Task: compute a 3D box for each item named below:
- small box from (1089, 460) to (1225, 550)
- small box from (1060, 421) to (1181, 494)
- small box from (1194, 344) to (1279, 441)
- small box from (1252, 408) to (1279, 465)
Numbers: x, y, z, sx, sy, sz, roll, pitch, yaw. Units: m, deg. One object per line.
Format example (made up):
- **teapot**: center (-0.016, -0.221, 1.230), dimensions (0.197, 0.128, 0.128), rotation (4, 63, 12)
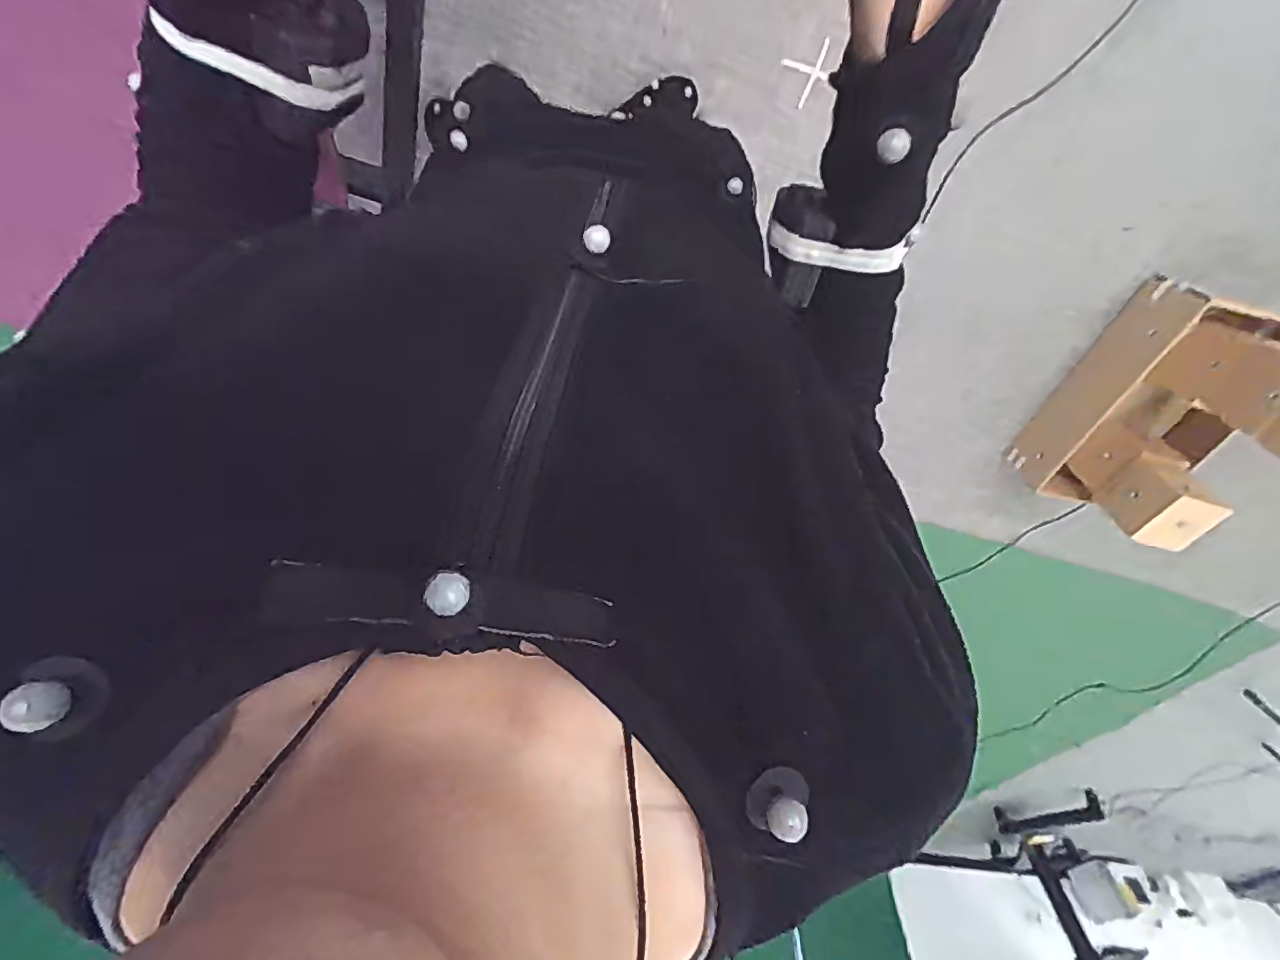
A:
- **small box**: center (1.415, 0.065, 1.498), dimensions (0.179, 0.176, 0.168), rotation (13, 129, -11)
- **small box**: center (1.422, -0.050, 1.616), dimensions (0.168, 0.176, 0.179), rotation (14, 128, -10)
- **small box**: center (1.504, -0.196, 1.284), dimensions (0.168, 0.176, 0.179), rotation (15, 129, -9)
- **small box**: center (1.501, -0.093, 1.159), dimensions (0.168, 0.176, 0.179), rotation (11, 128, -6)
